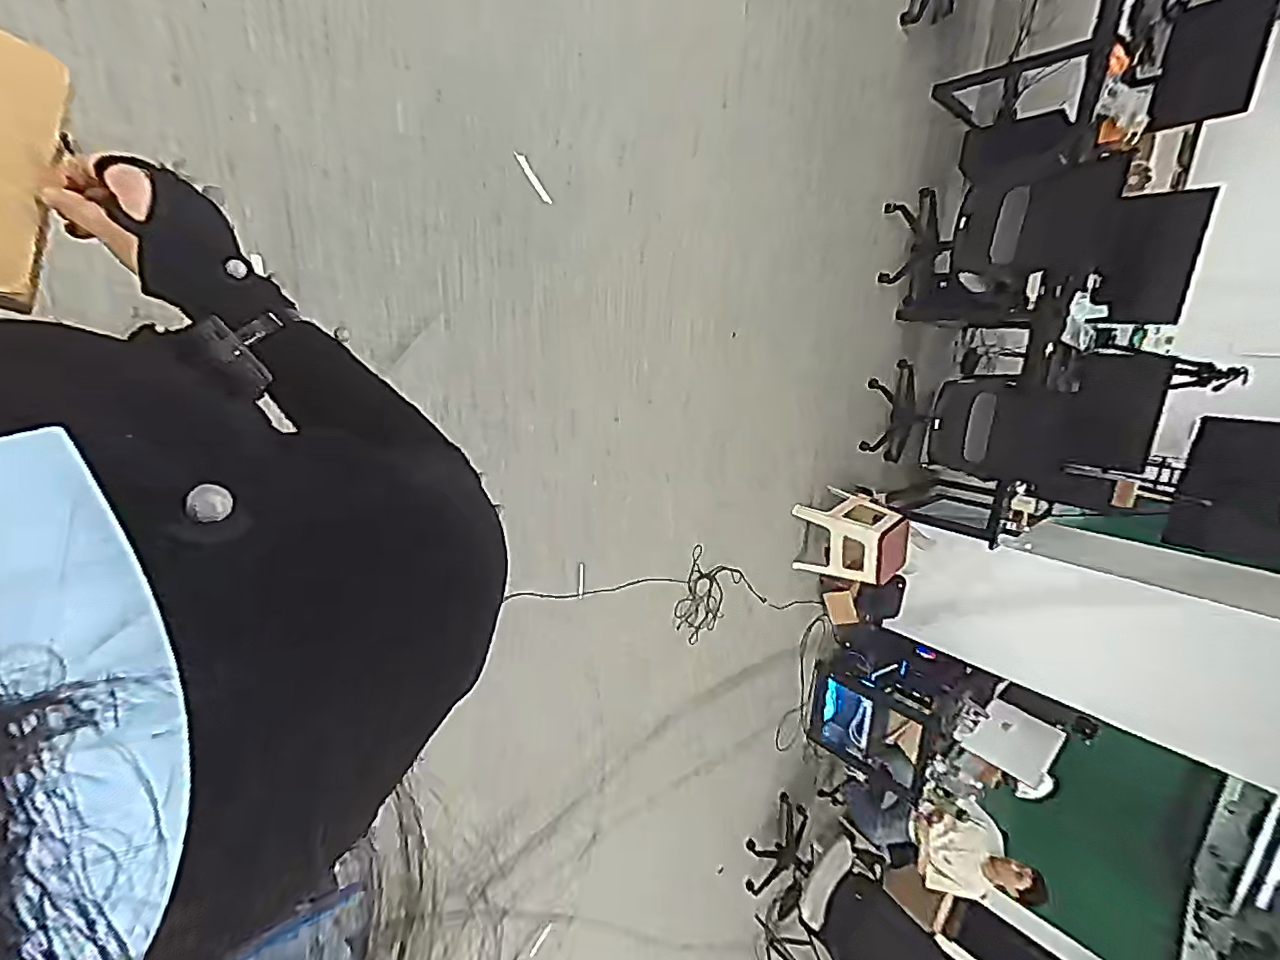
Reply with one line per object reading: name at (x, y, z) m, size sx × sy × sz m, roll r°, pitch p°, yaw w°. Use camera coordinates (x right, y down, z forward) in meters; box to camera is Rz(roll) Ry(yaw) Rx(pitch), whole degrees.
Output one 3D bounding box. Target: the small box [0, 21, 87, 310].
small box at (-0.525, -0.235, 0.377) m, size 0.168 × 0.176 × 0.179 m, roll 12°, pitch 89°, yaw -48°
